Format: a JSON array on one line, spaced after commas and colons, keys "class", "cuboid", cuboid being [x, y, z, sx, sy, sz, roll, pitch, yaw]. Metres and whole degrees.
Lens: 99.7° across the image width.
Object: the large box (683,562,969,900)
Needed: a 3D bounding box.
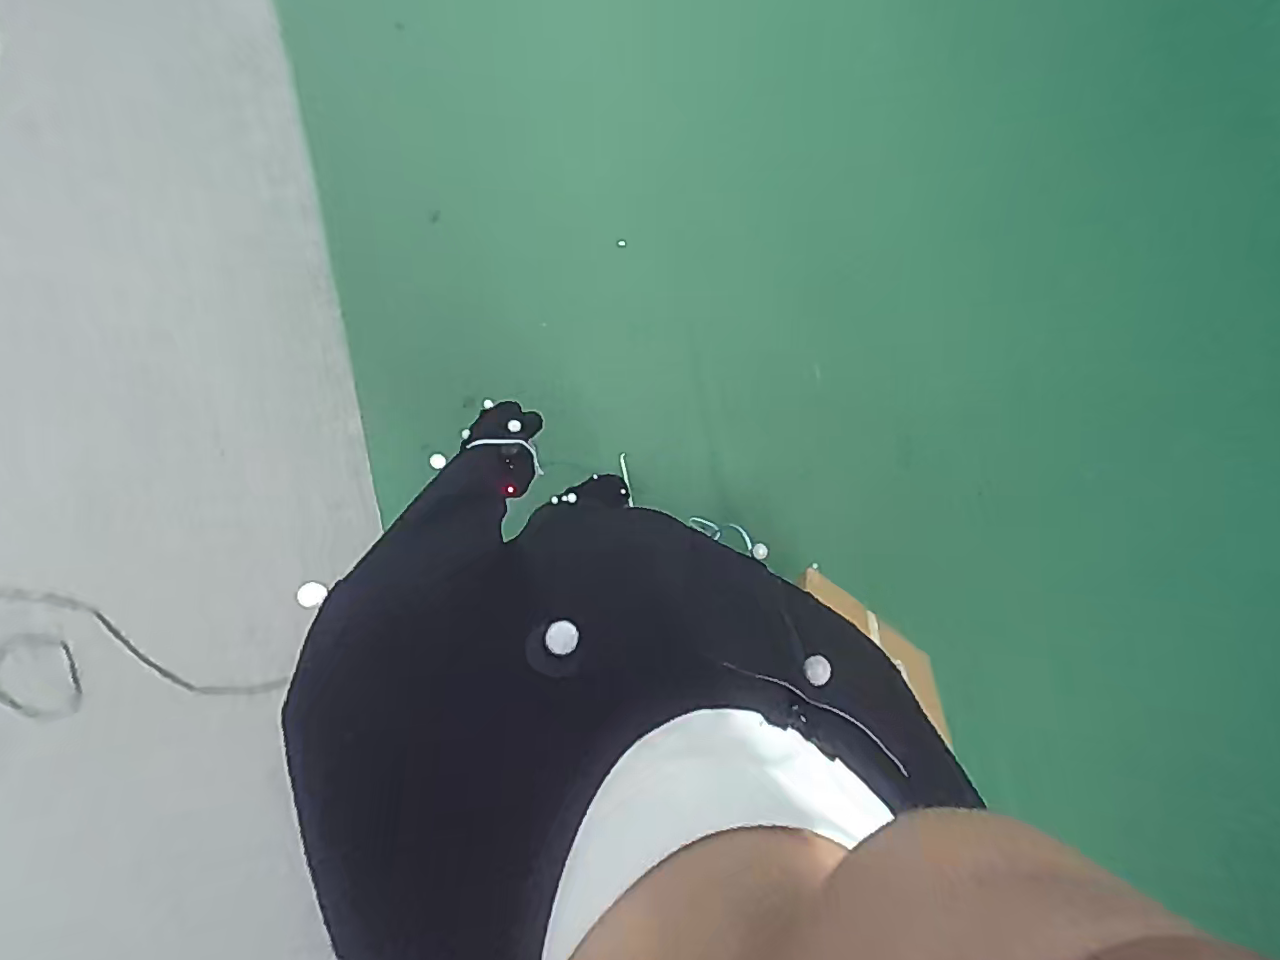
[{"class": "large box", "cuboid": [0.317, 0.439, 1.003, 0.320, 0.408, 0.320, 38, 117, -1]}]
